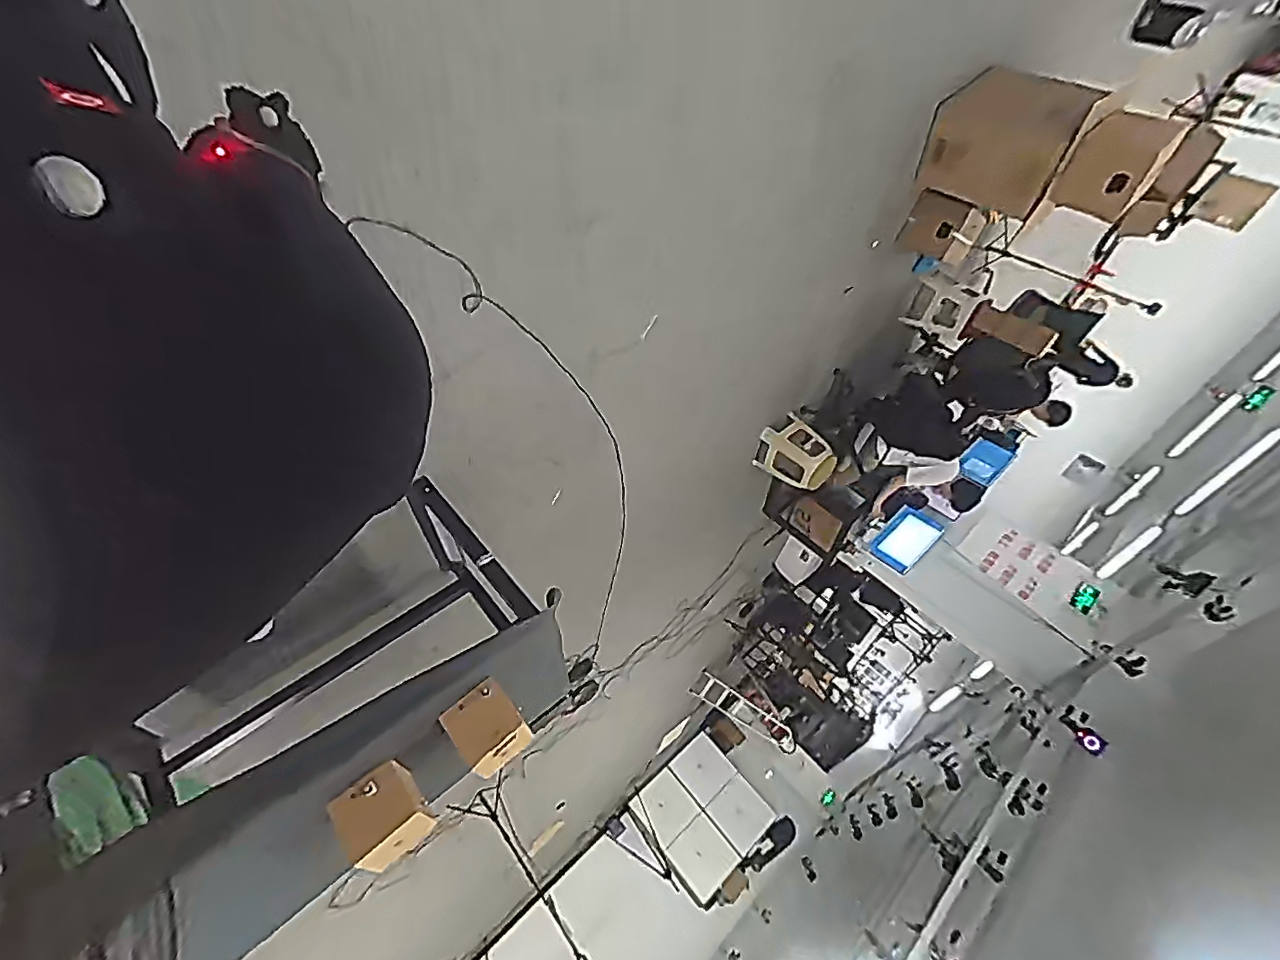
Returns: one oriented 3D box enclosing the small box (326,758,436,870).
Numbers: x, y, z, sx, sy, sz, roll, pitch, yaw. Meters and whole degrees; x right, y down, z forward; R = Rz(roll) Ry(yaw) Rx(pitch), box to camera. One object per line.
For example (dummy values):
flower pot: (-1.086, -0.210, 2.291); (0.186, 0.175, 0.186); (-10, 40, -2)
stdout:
small box: (-0.655, 0.844, 1.374); (0.168, 0.176, 0.179); (-36, 148, -26)

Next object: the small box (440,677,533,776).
small box: (-0.422, 0.674, 1.488); (0.168, 0.176, 0.179); (-36, 151, -22)
